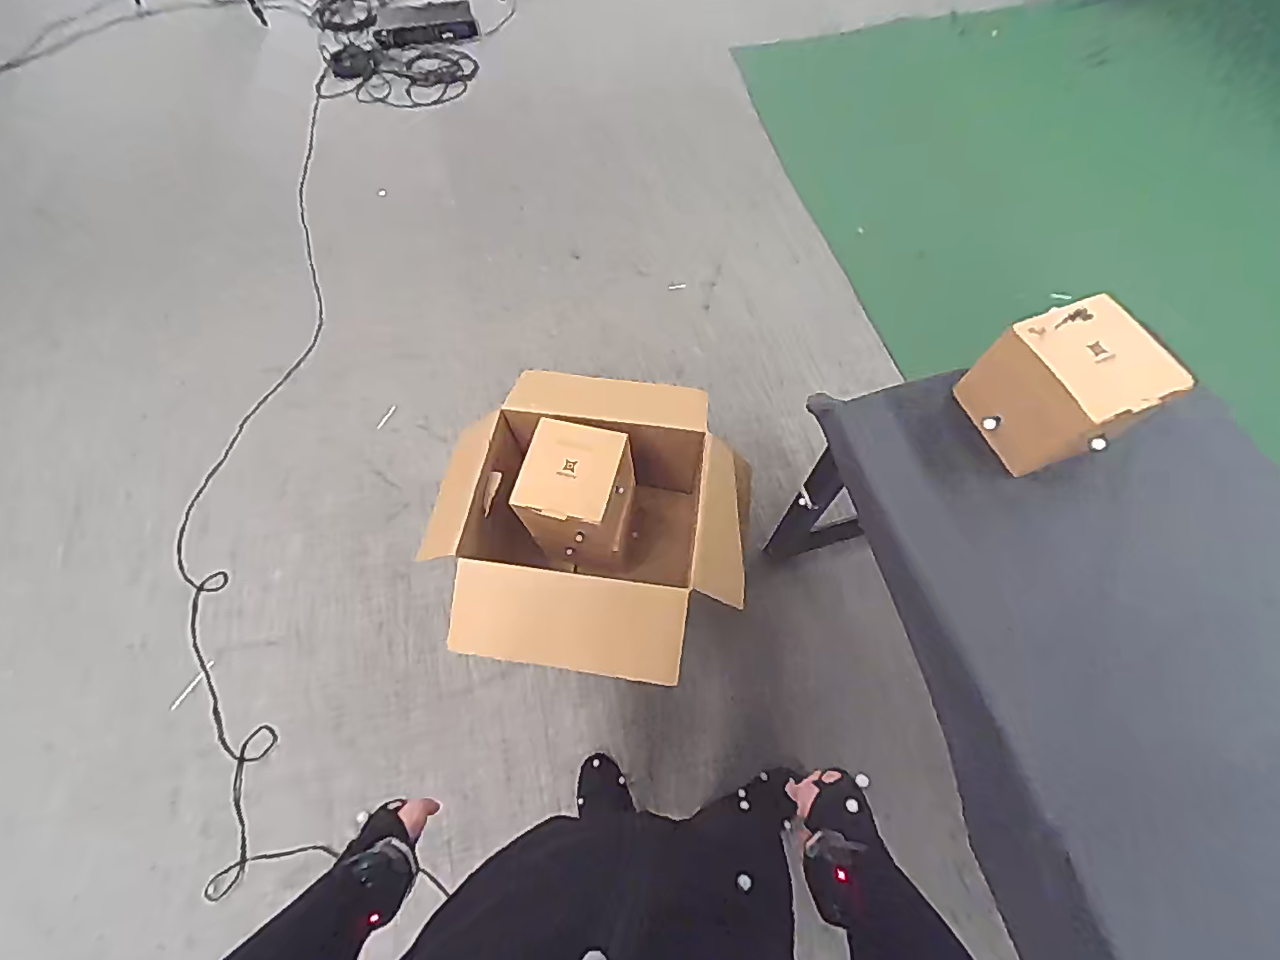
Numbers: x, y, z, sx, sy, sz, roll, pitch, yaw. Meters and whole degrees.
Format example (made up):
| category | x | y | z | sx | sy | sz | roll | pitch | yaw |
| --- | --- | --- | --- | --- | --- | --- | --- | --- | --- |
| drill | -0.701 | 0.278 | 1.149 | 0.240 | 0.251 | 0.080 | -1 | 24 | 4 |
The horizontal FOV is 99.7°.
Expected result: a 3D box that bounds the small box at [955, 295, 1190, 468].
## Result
| category | x | y | z | sx | sy | sz | roll | pitch | yaw |
| --- | --- | --- | --- | --- | --- | --- | --- | --- | --- |
| small box | 0.623 | -0.135 | 0.808 | 0.168 | 0.176 | 0.179 | -19 | 67 | -8 |
